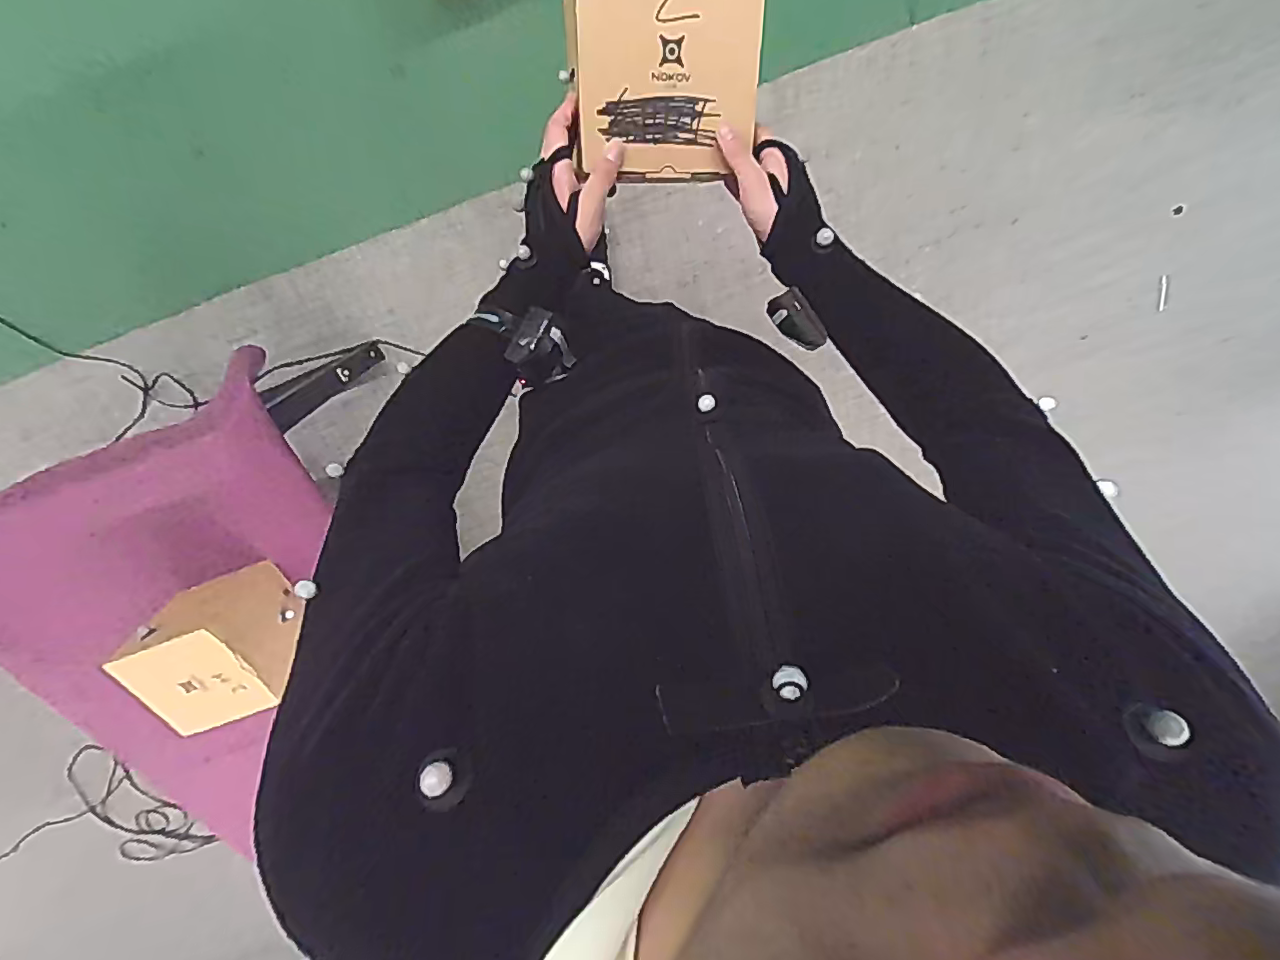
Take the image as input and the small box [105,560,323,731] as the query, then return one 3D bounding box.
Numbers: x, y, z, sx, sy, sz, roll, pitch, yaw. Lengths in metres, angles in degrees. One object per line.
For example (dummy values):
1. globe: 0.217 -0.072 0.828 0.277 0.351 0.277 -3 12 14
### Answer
1. small box: -0.655 0.256 0.860 0.179 0.176 0.168 -20 117 4
